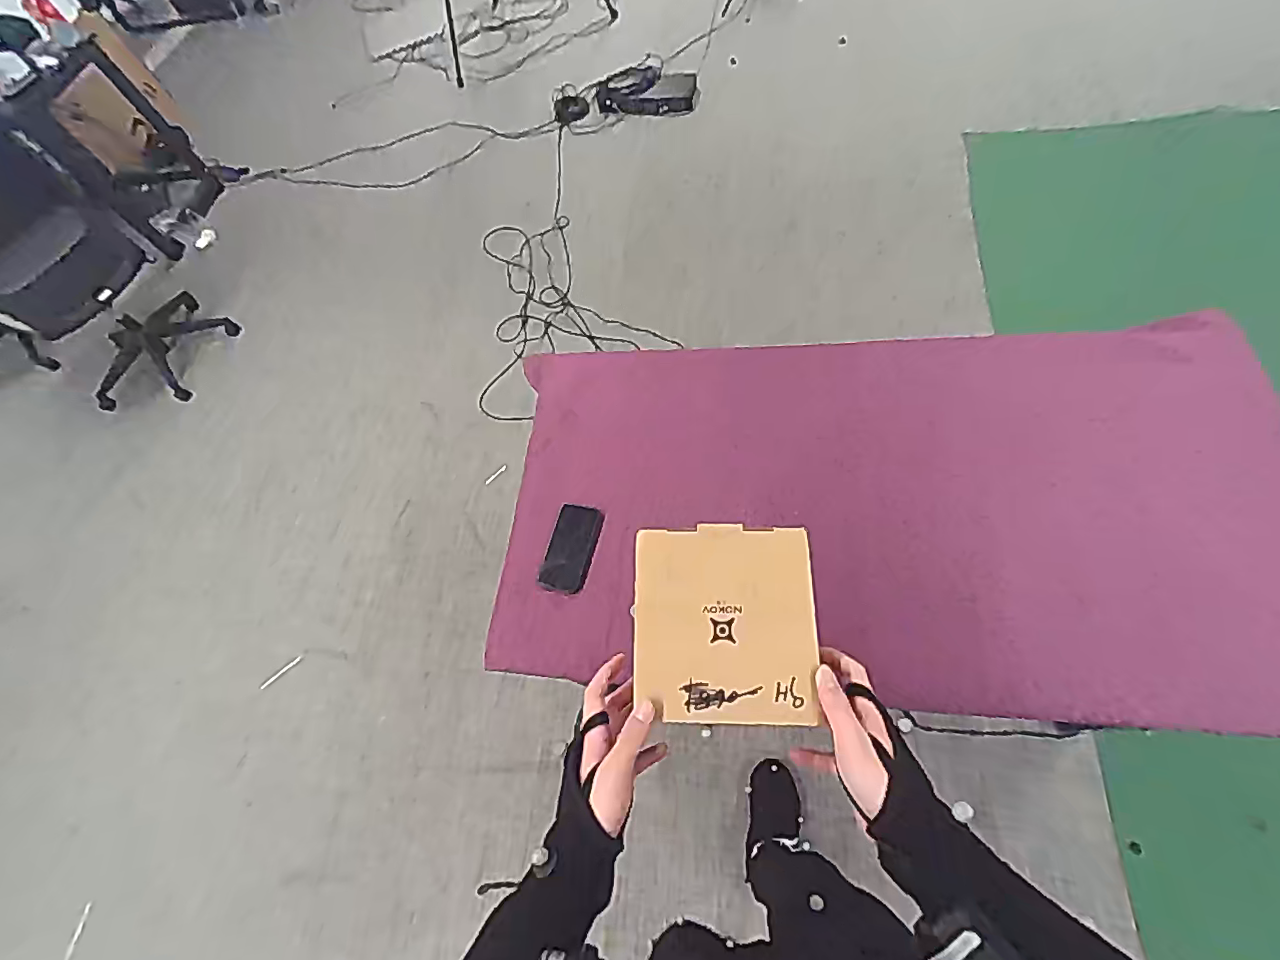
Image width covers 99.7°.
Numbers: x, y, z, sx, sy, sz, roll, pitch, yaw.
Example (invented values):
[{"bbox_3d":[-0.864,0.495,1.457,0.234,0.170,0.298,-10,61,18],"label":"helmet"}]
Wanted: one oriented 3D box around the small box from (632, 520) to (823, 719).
[{"bbox_3d":[0.085,0.150,0.567,0.168,0.176,0.179,-1,70,7],"label":"small box"}]
